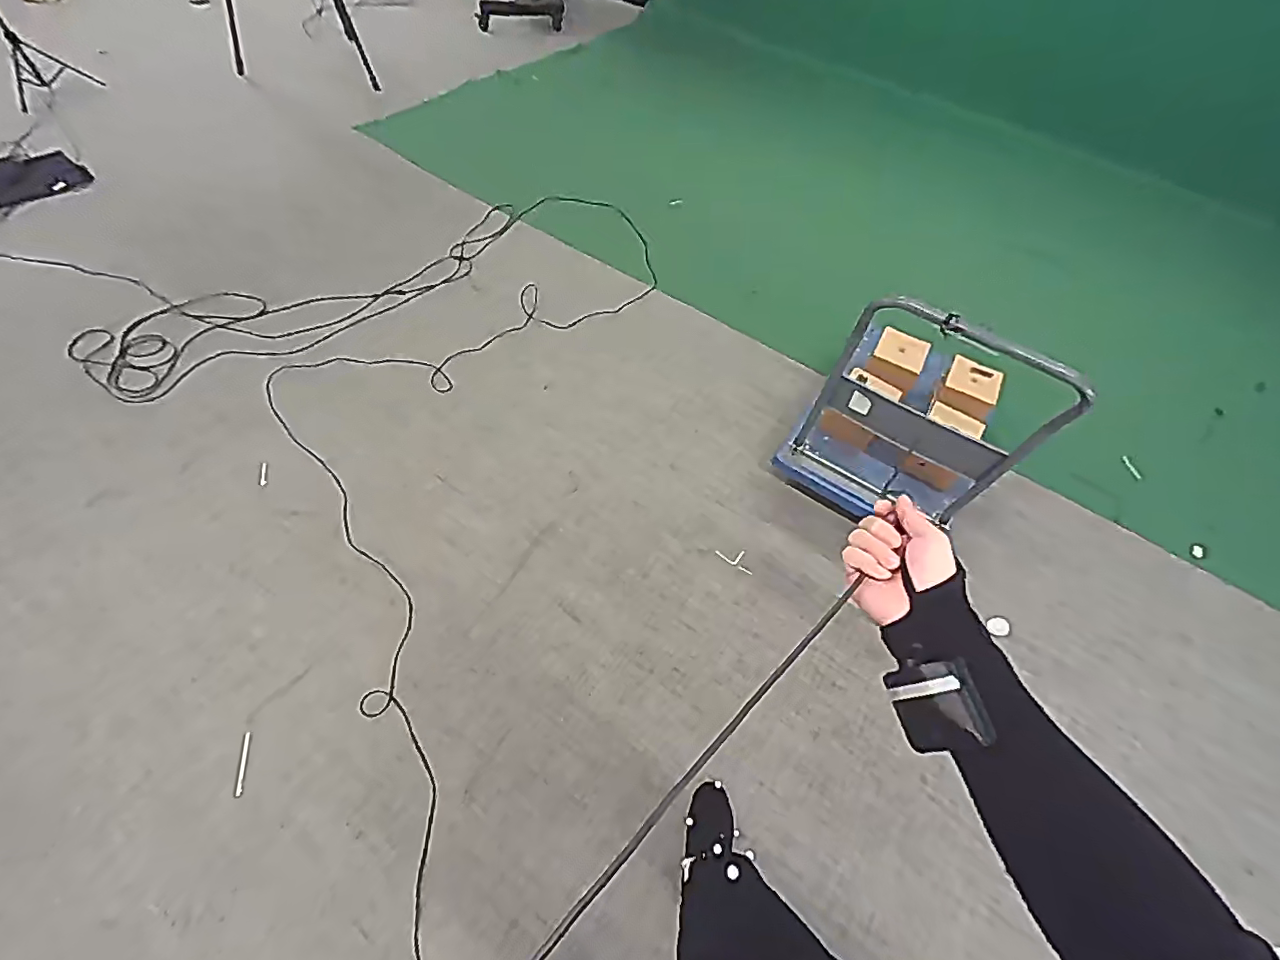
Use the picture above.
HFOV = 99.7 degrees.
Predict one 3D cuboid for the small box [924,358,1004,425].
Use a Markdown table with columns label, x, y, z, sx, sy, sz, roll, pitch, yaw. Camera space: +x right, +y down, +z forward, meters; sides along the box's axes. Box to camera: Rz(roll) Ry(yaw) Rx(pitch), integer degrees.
| label | x | y | z | sx | sy | sz | roll | pitch | yaw |
| --- | --- | --- | --- | --- | --- | --- | --- | --- | --- |
| small box | 1.122 | -0.284 | 1.881 | 0.168 | 0.176 | 0.179 | 28 | 59 | 14 |

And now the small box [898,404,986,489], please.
| label | x | y | z | sx | sy | sz | roll | pitch | yaw |
| --- | --- | --- | --- | --- | --- | --- | --- | --- | --- |
| small box | 0.970 | -0.105 | 1.749 | 0.168 | 0.176 | 0.179 | 33 | 60 | 15 |

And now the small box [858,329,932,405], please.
| label | x | y | z | sx | sy | sz | roll | pitch | yaw |
| --- | --- | --- | --- | --- | --- | --- | --- | --- | --- |
| small box | 0.906 | -0.399 | 1.938 | 0.168 | 0.176 | 0.179 | 29 | 58 | 13 |
